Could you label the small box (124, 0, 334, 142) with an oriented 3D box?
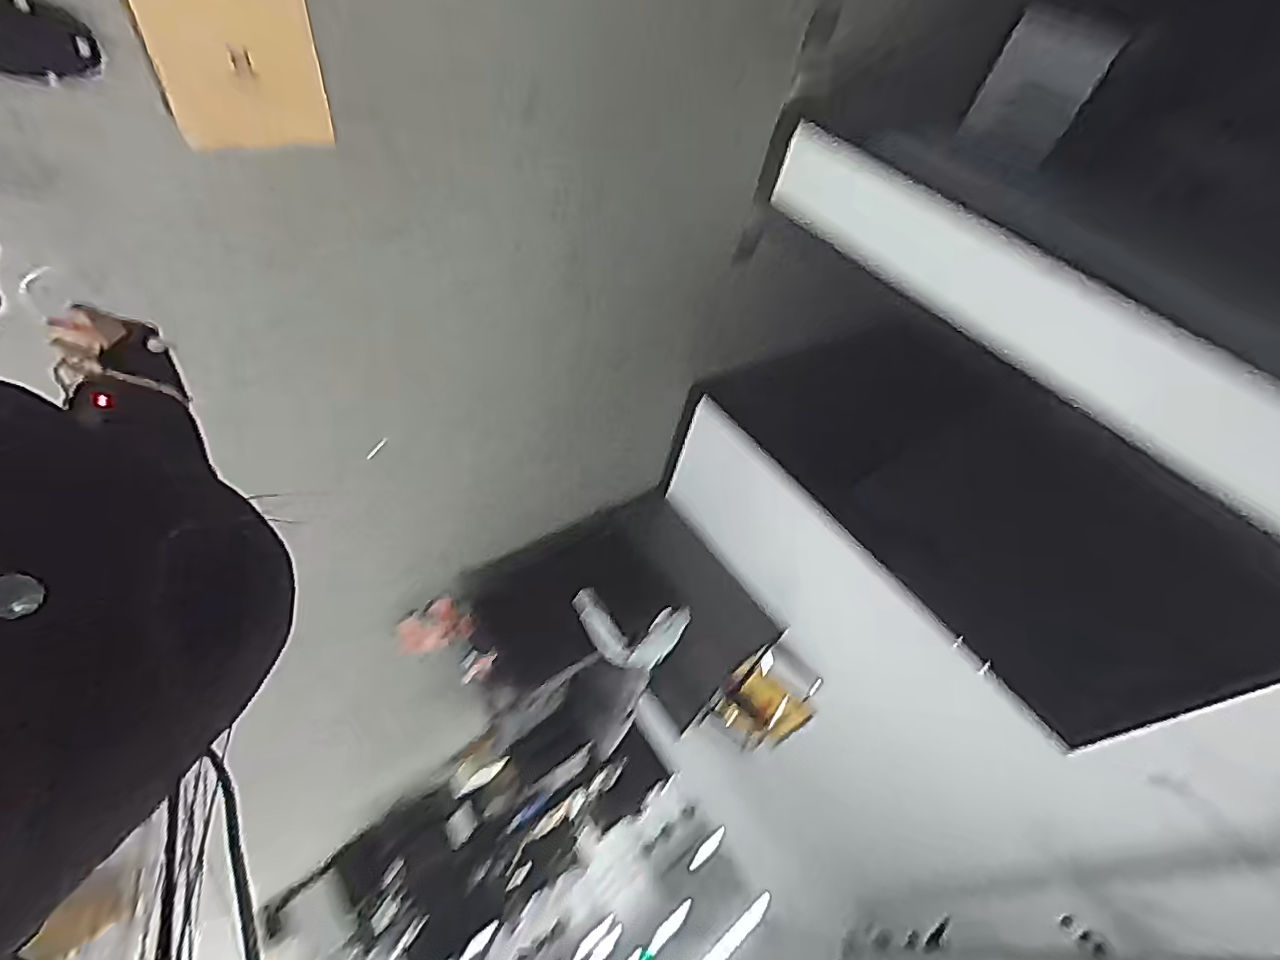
[{"bbox_3d":[-0.506,-0.543,0.658,0.168,0.176,0.179,-25,150,-30],"label":"small box"}]
